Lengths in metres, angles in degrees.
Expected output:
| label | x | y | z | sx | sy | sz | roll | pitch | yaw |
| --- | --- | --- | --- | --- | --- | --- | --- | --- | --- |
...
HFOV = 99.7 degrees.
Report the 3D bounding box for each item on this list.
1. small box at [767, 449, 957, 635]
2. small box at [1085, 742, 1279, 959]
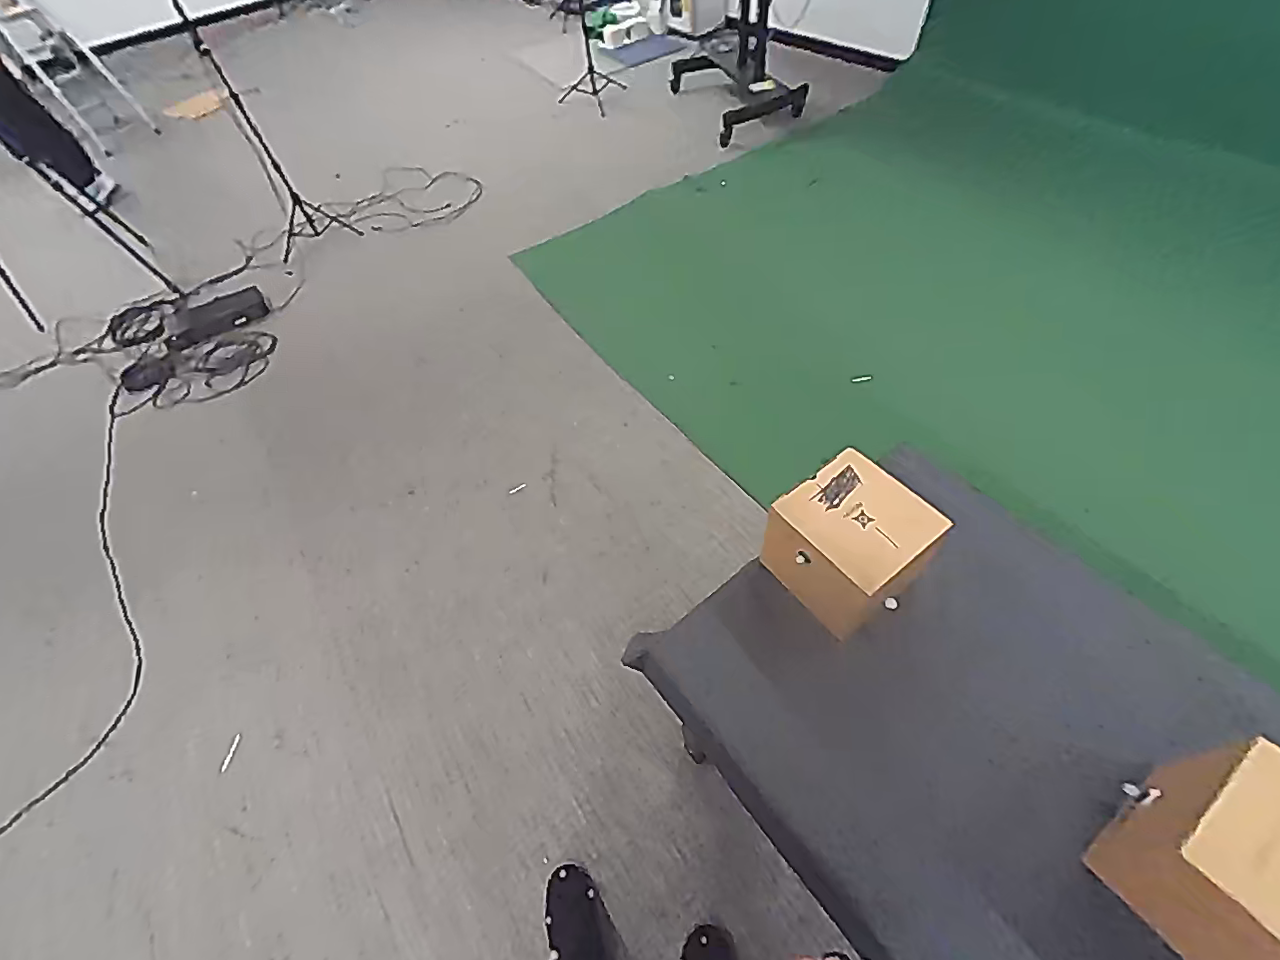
| label | x | y | z | sx | sy | sz | roll | pitch | yaw |
| --- | --- | --- | --- | --- | --- | --- | --- | --- | --- |
| small box | 0.307 | 0.094 | 0.792 | 0.168 | 0.176 | 0.179 | -33 | 59 | -17 |
| small box | 0.618 | 0.404 | 0.543 | 0.168 | 0.176 | 0.179 | -33 | 57 | -18 |
